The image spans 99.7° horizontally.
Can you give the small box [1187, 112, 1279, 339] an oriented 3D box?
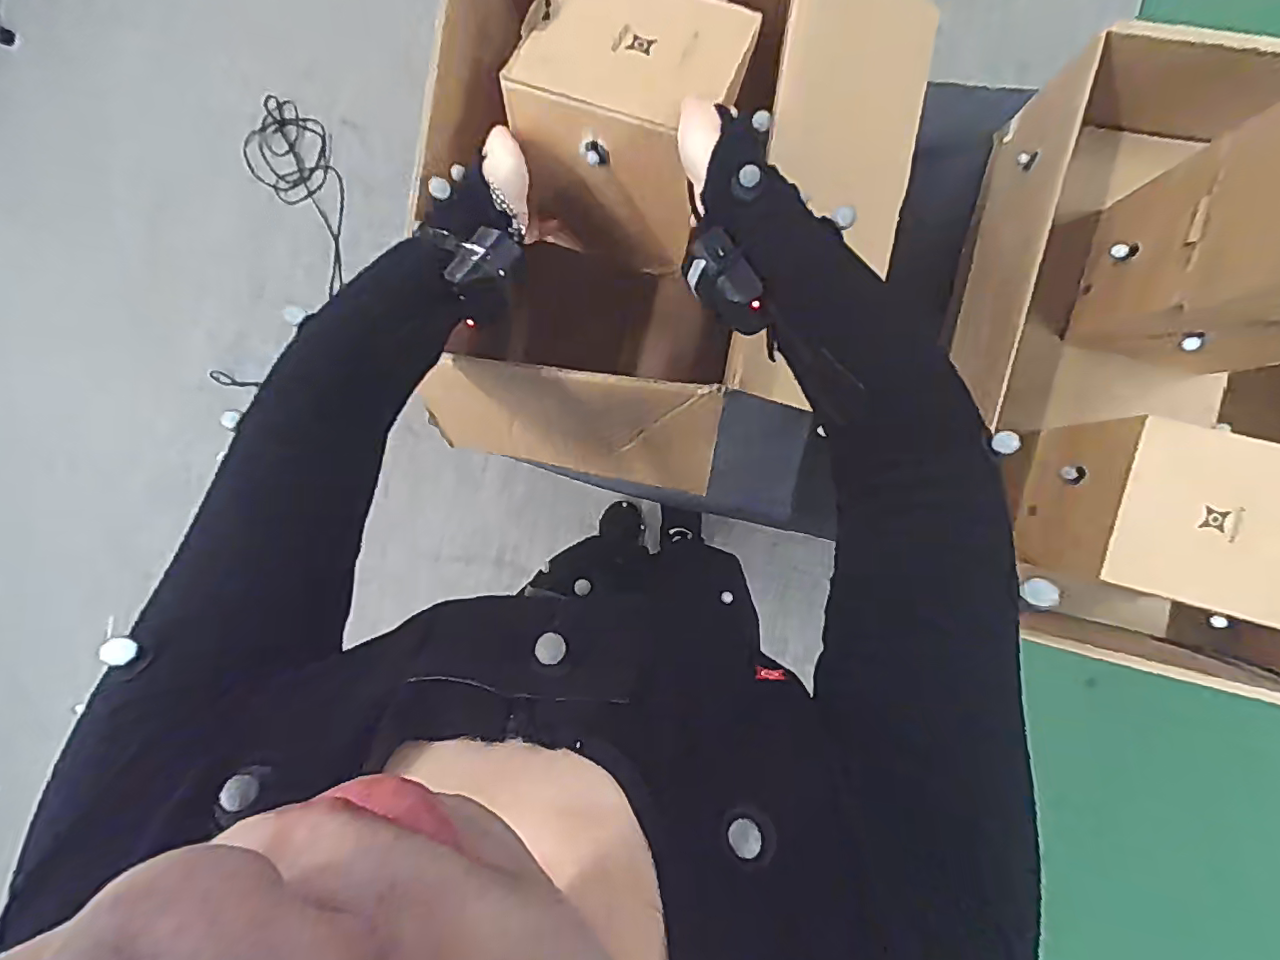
[{"bbox_3d":[0.588,-0.211,0.411,0.168,0.176,0.179,14,95,6],"label":"small box"}]
